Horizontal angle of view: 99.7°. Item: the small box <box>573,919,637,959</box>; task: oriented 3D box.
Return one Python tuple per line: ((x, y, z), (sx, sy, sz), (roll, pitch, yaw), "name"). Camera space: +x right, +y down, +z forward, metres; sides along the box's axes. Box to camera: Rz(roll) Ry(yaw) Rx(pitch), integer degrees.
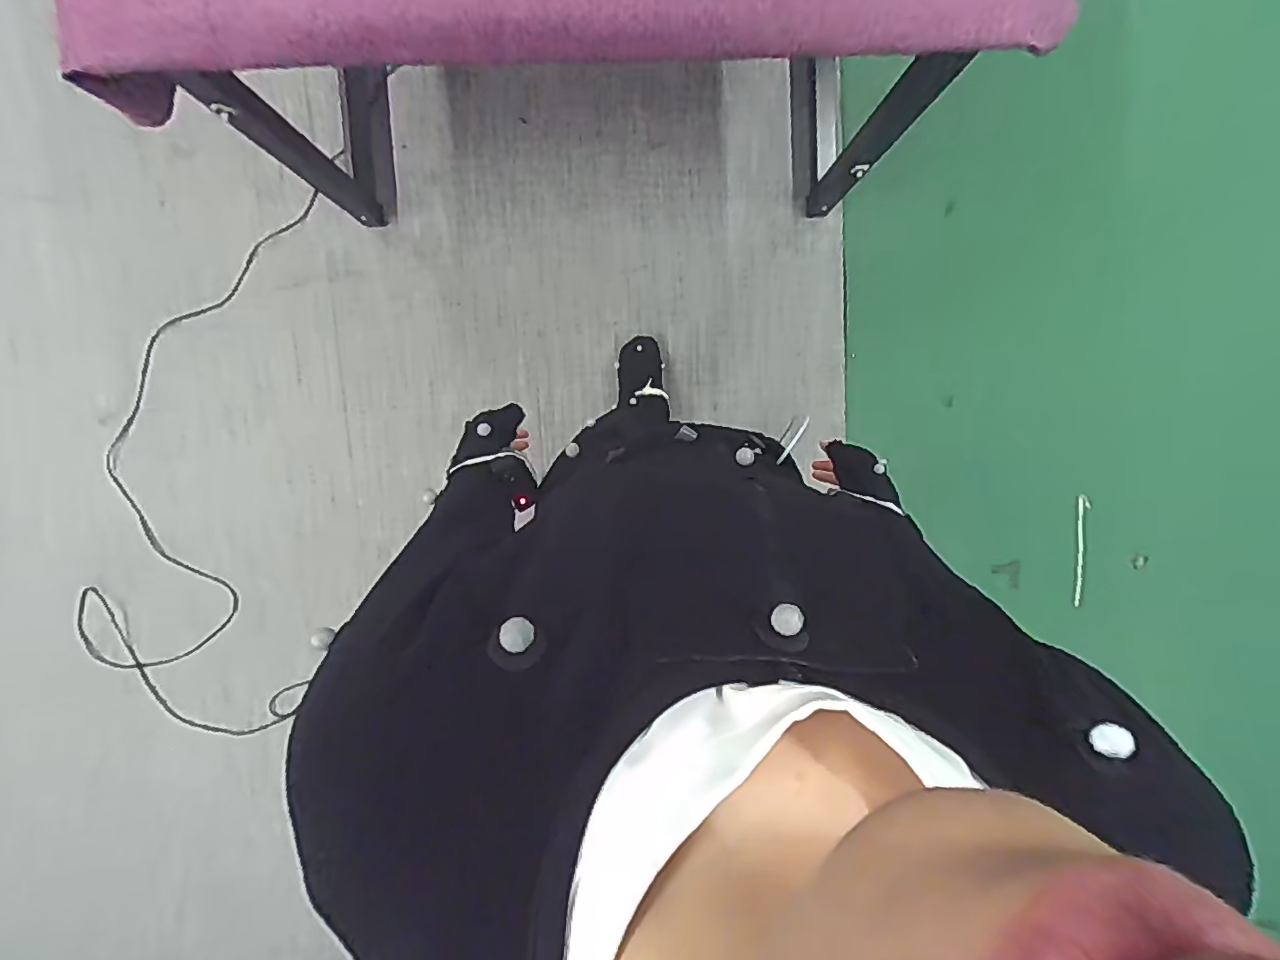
((-0.093, 1.351, 1.473), (0.168, 0.176, 0.179), (-4, 98, -1), "small box")
